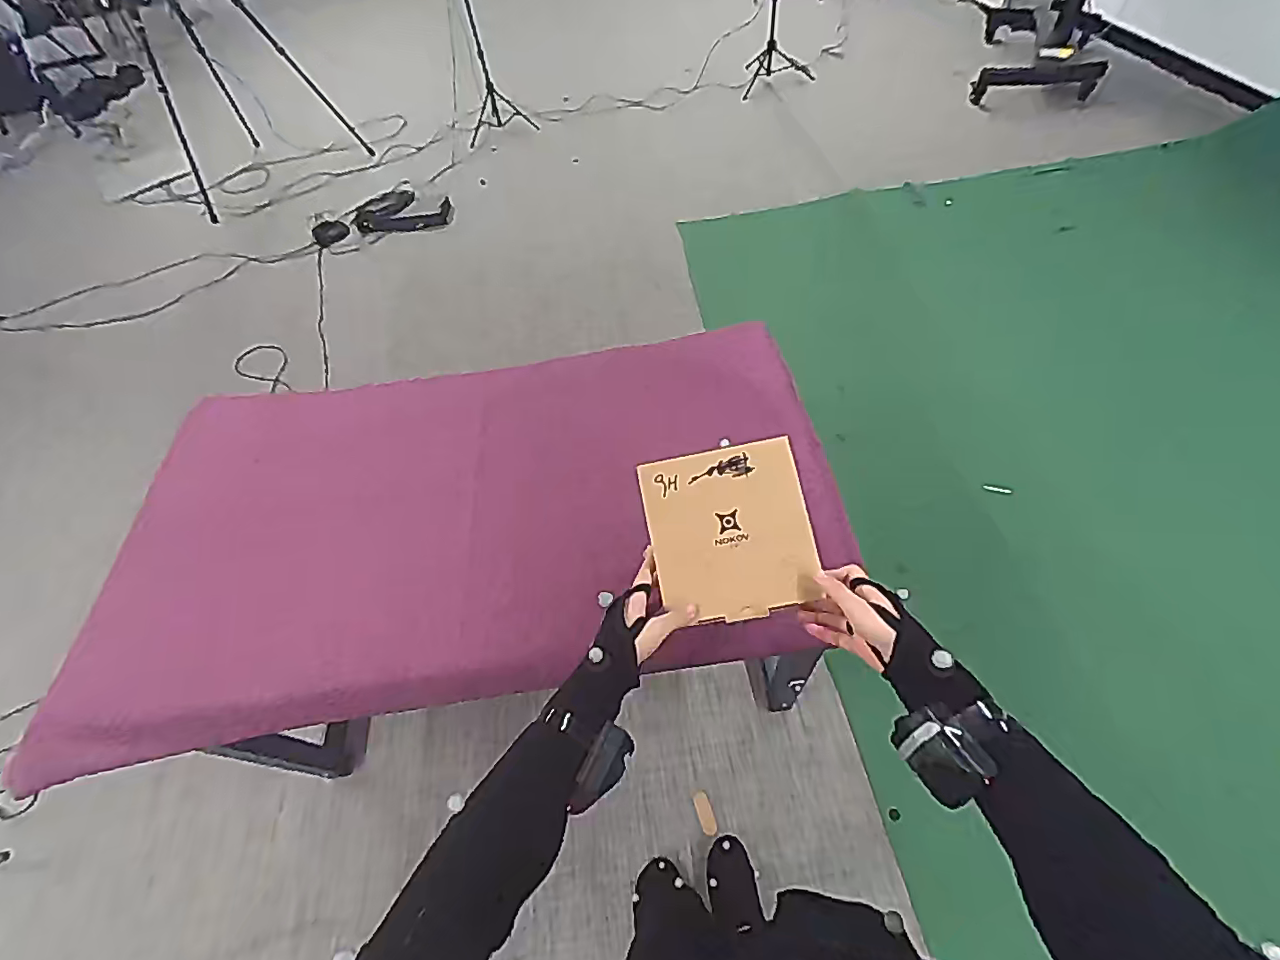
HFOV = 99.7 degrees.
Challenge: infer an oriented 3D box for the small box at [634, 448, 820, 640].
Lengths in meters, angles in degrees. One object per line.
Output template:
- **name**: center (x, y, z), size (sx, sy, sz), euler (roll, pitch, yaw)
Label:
- **small box**: center (0.095, 0.077, 0.636), size (0.168, 0.176, 0.179), euler (-11, 79, 3)
